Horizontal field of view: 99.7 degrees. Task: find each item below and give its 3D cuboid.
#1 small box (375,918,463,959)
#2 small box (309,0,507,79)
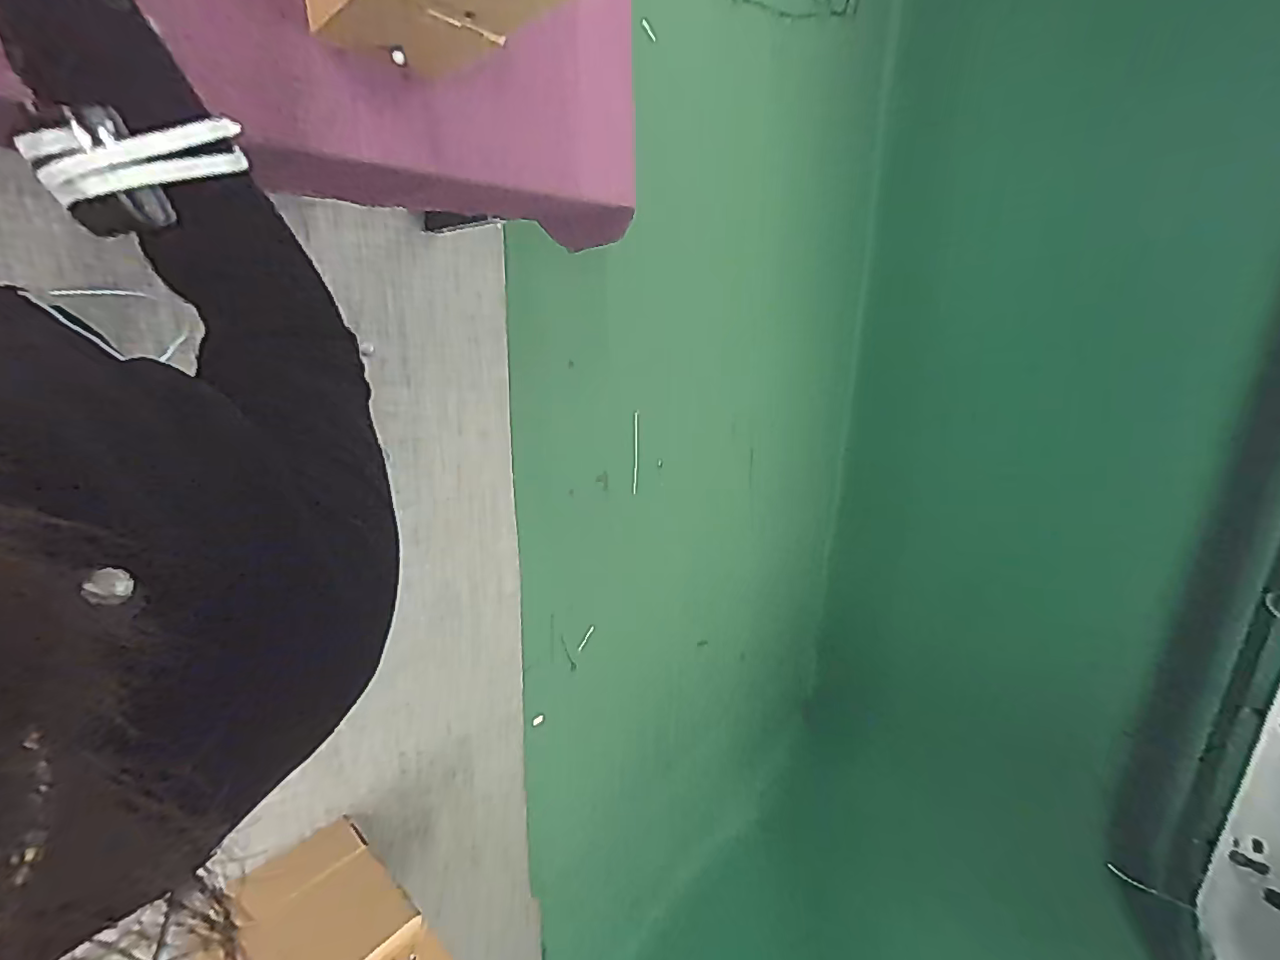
[{"bbox_3d":[-0.539,1.248,1.330,0.168,0.176,0.179,-17,113,-45],"label":"small box"},{"bbox_3d":[-0.277,-0.613,0.629,0.168,0.176,0.179,-17,114,-46],"label":"small box"}]
